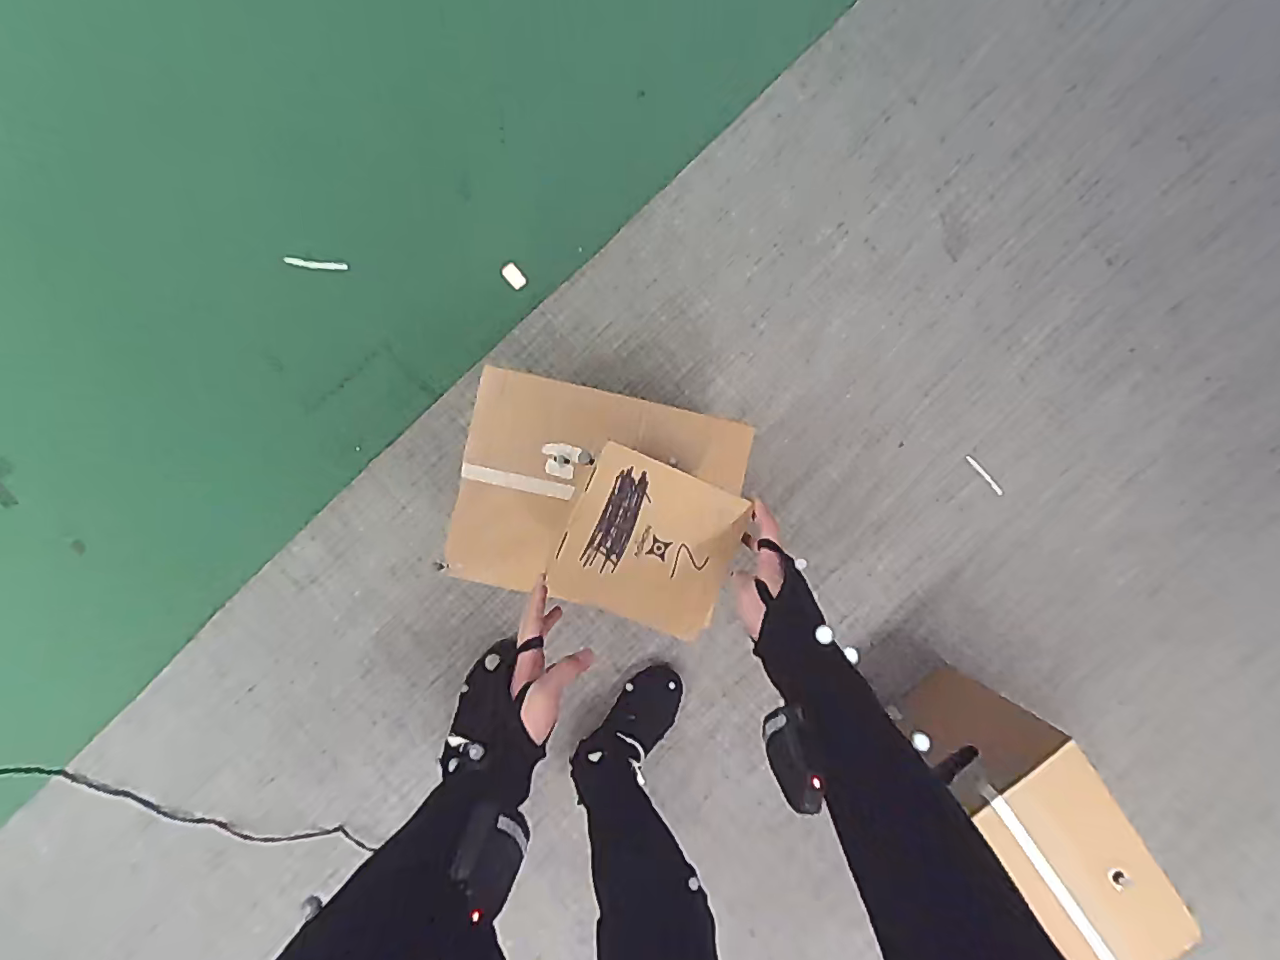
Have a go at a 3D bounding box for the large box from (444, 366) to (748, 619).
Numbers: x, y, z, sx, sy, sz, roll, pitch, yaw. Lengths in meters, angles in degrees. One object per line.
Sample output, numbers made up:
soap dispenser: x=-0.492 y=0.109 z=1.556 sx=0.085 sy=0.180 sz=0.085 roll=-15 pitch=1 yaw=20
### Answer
large box: x=-0.067 y=0.015 z=0.938 sx=0.408 sy=0.320 sz=0.320 roll=12 pitch=92 yaw=-3
